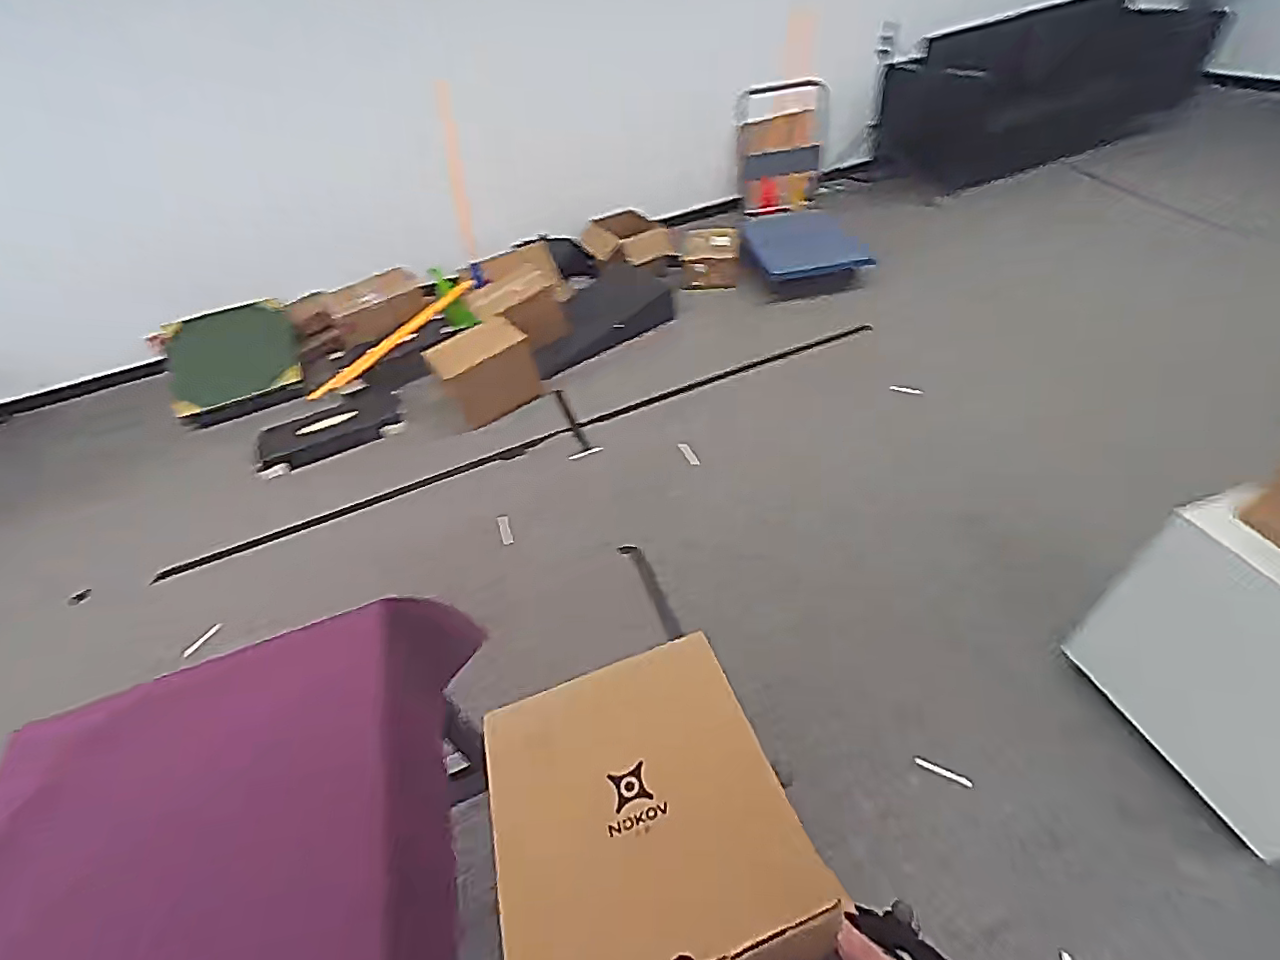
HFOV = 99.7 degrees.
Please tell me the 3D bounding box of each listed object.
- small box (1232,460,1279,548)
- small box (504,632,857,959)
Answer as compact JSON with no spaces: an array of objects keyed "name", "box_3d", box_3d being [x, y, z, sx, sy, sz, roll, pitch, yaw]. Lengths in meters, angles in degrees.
[{"name":"small box","box_3d":[1.234,0.034,0.951,0.179,0.176,0.168,-15,44,-7]},{"name":"small box","box_3d":[0.018,0.244,0.367,0.168,0.176,0.179,-18,39,-7]}]
